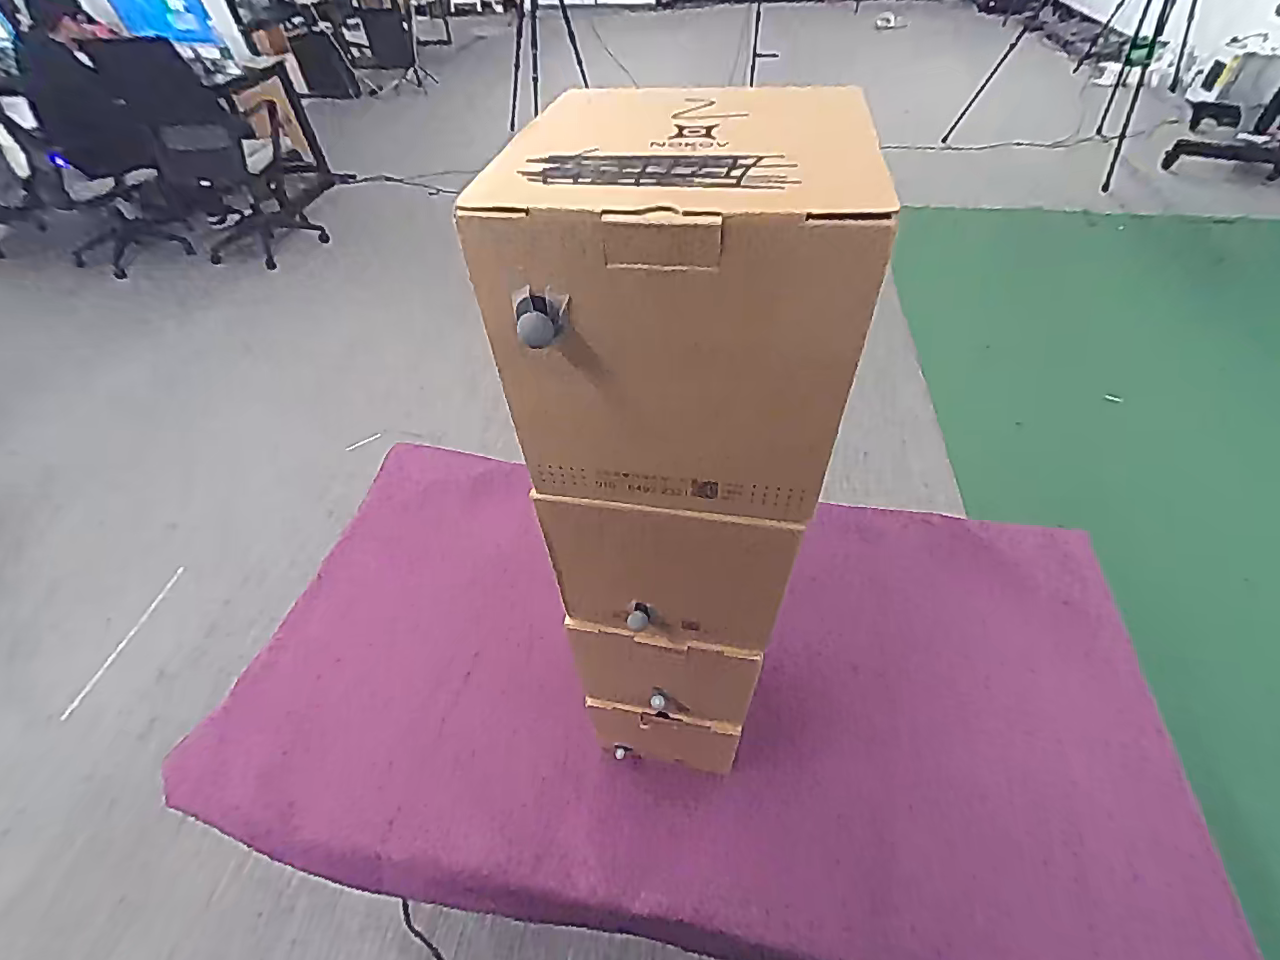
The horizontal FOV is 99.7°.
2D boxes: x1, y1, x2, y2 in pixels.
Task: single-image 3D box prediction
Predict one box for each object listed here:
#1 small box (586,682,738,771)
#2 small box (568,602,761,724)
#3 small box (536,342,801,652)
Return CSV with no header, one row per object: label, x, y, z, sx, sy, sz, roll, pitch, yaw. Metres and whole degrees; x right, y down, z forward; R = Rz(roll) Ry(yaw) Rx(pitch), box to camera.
small box,0.042,0.240,0.676,0.168,0.176,0.179,8,48,9
small box,0.036,0.124,0.559,0.168,0.176,0.179,7,49,10
small box,0.032,0.013,0.441,0.168,0.176,0.179,7,49,10
